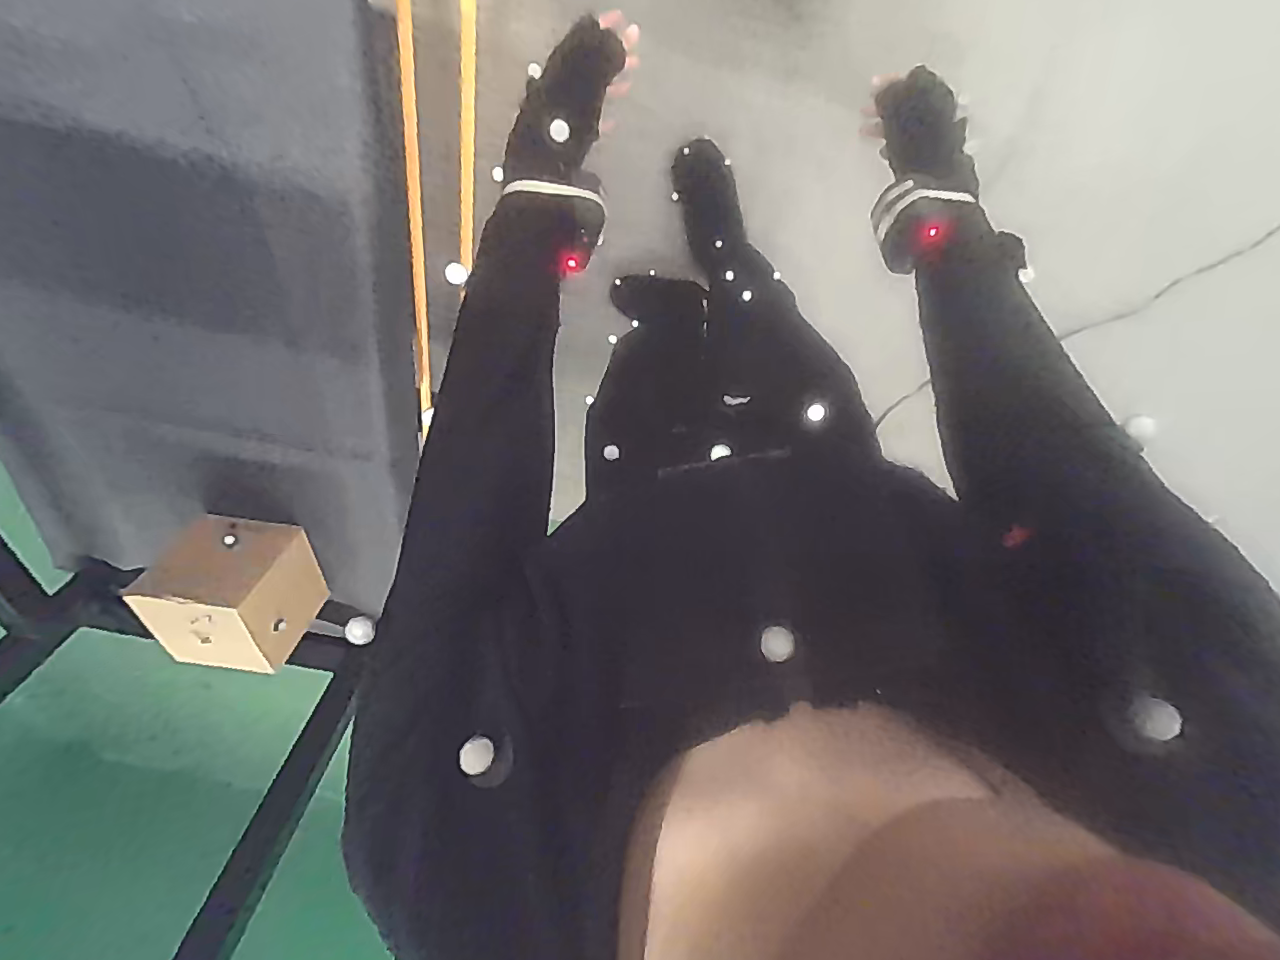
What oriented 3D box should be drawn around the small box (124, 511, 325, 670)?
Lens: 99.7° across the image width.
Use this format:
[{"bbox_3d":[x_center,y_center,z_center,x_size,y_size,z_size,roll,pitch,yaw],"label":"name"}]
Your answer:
[{"bbox_3d":[-0.646,0.176,0.874,0.168,0.176,0.179,8,130,0],"label":"small box"}]
